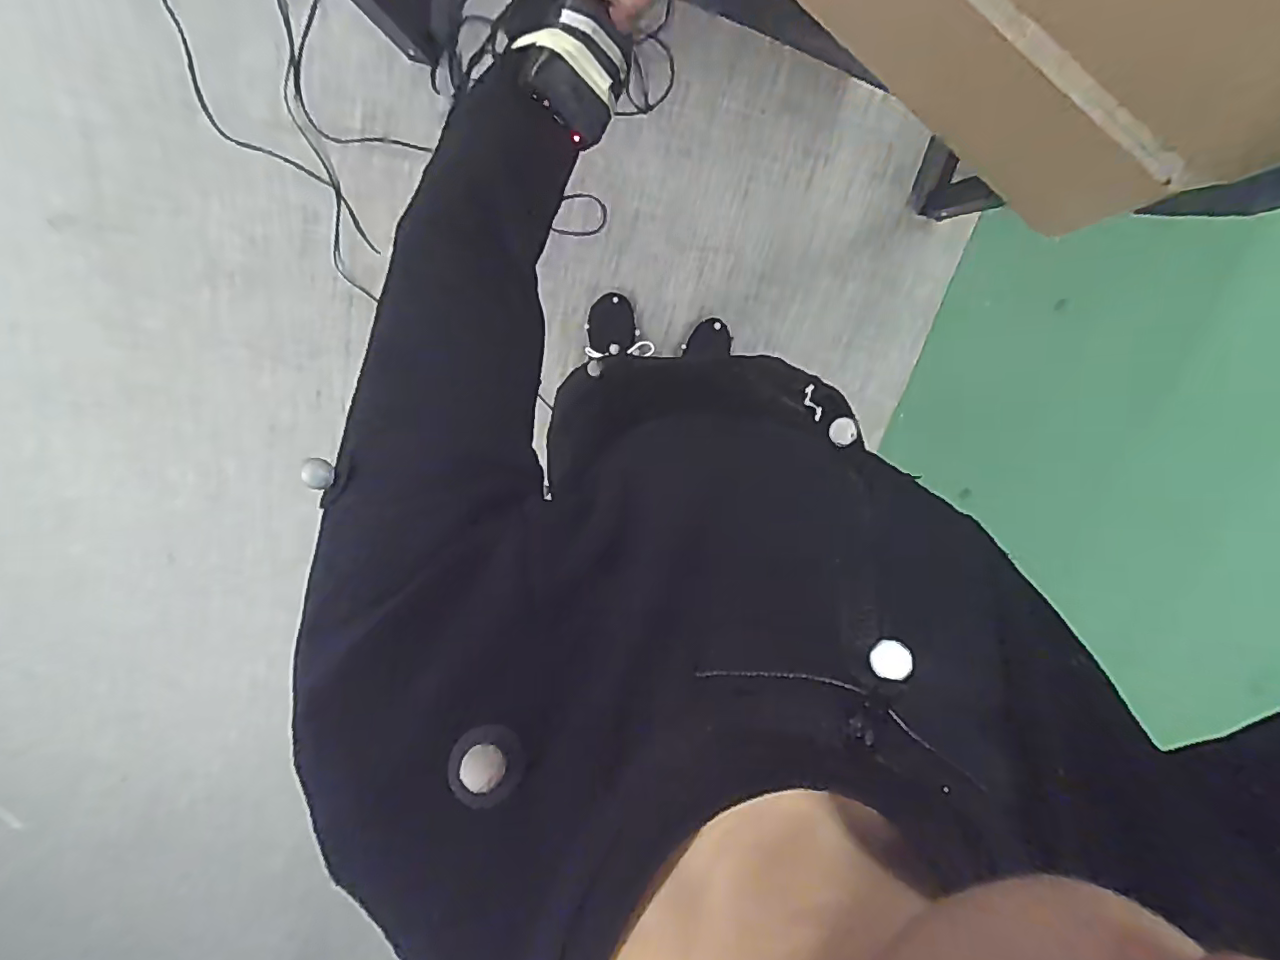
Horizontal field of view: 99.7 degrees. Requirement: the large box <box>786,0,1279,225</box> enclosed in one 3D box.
[{"bbox_3d":[0.189,-0.367,0.184,0.408,0.320,0.320,44,110,1],"label":"large box"}]
